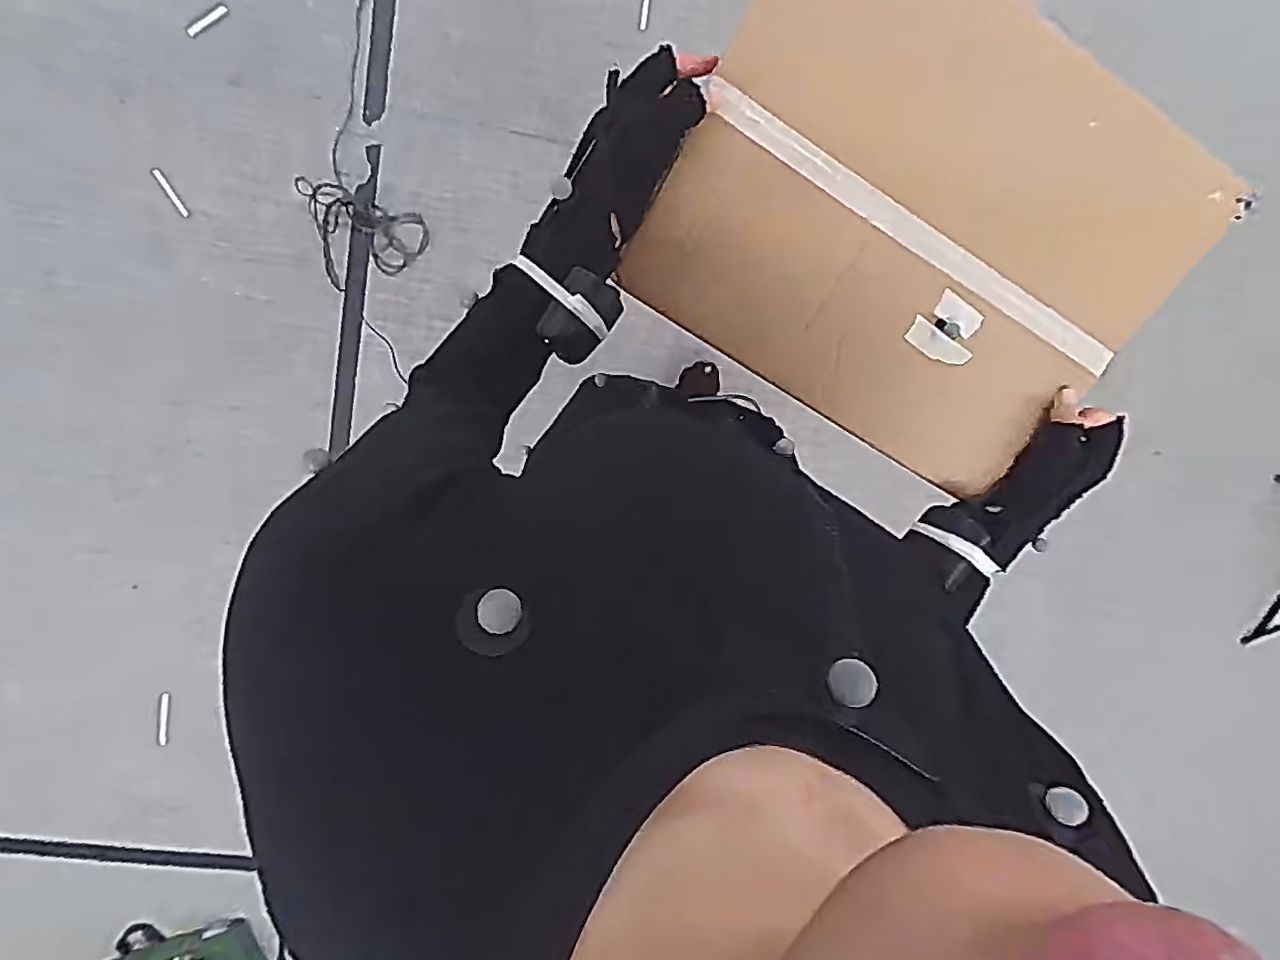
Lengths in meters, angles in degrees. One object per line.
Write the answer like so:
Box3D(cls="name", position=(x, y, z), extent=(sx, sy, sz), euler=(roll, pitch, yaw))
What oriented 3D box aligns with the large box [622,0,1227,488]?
Box3D(cls="large box", position=(0.229, -0.256, 0.589), extent=(0.408, 0.320, 0.320), euler=(30, 109, -9))
